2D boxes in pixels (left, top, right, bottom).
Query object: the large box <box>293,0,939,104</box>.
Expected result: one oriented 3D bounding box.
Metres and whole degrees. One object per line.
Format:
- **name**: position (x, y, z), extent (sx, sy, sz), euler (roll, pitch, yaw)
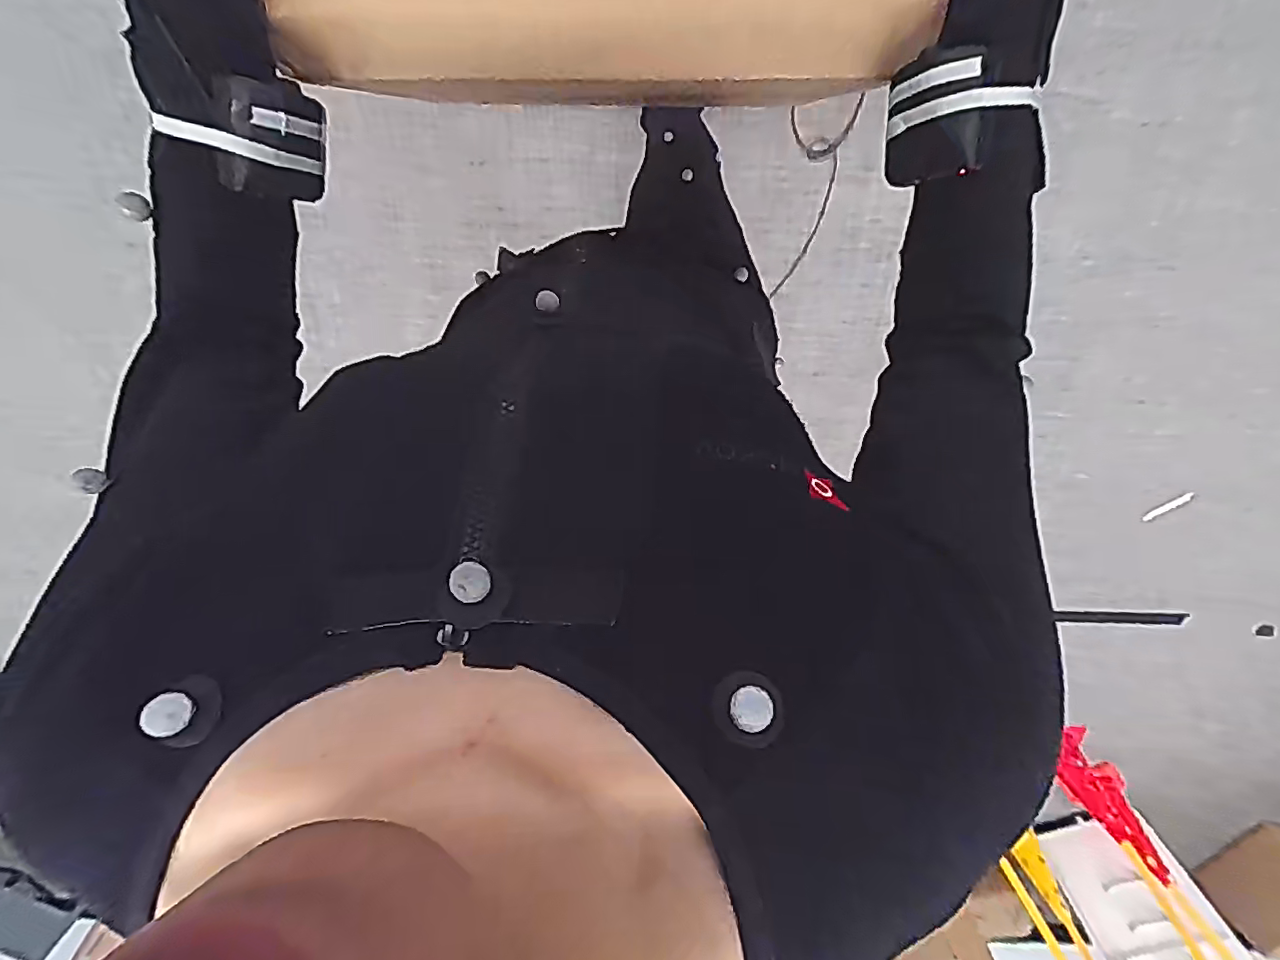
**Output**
- **large box**: position (-0.019, -0.478, 0.393), extent (0.408, 0.320, 0.320), euler (0, 122, 0)
